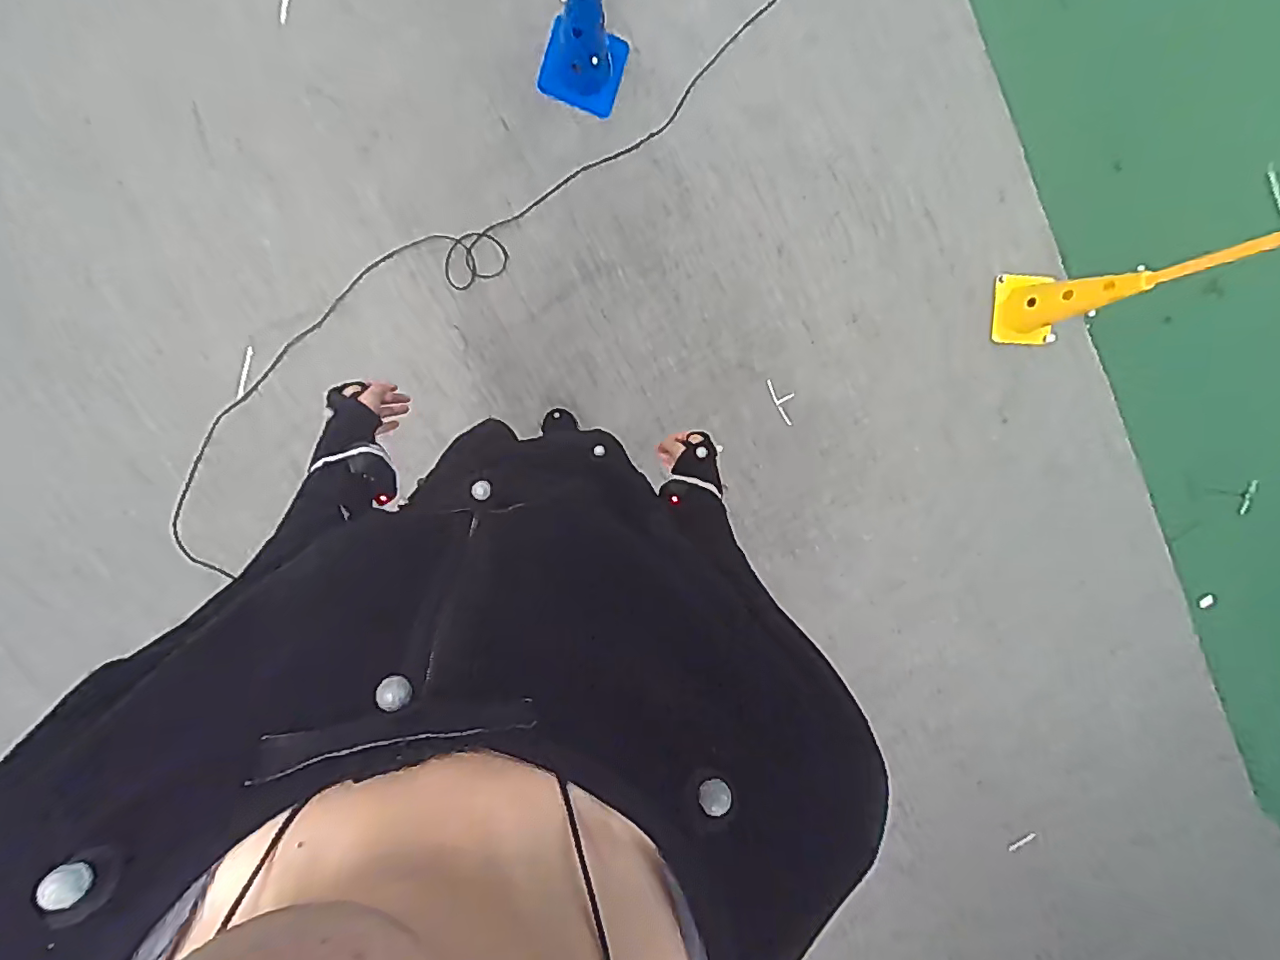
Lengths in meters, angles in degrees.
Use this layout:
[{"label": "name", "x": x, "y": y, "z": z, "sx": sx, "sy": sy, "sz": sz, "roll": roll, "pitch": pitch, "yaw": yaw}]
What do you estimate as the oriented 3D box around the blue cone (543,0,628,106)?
[{"label": "blue cone", "x": -0.122, "y": -1.040, "z": 1.204, "sx": 0.193, "sy": 0.380, "sz": 0.192, "roll": 17, "pitch": 95, "yaw": -8}]
